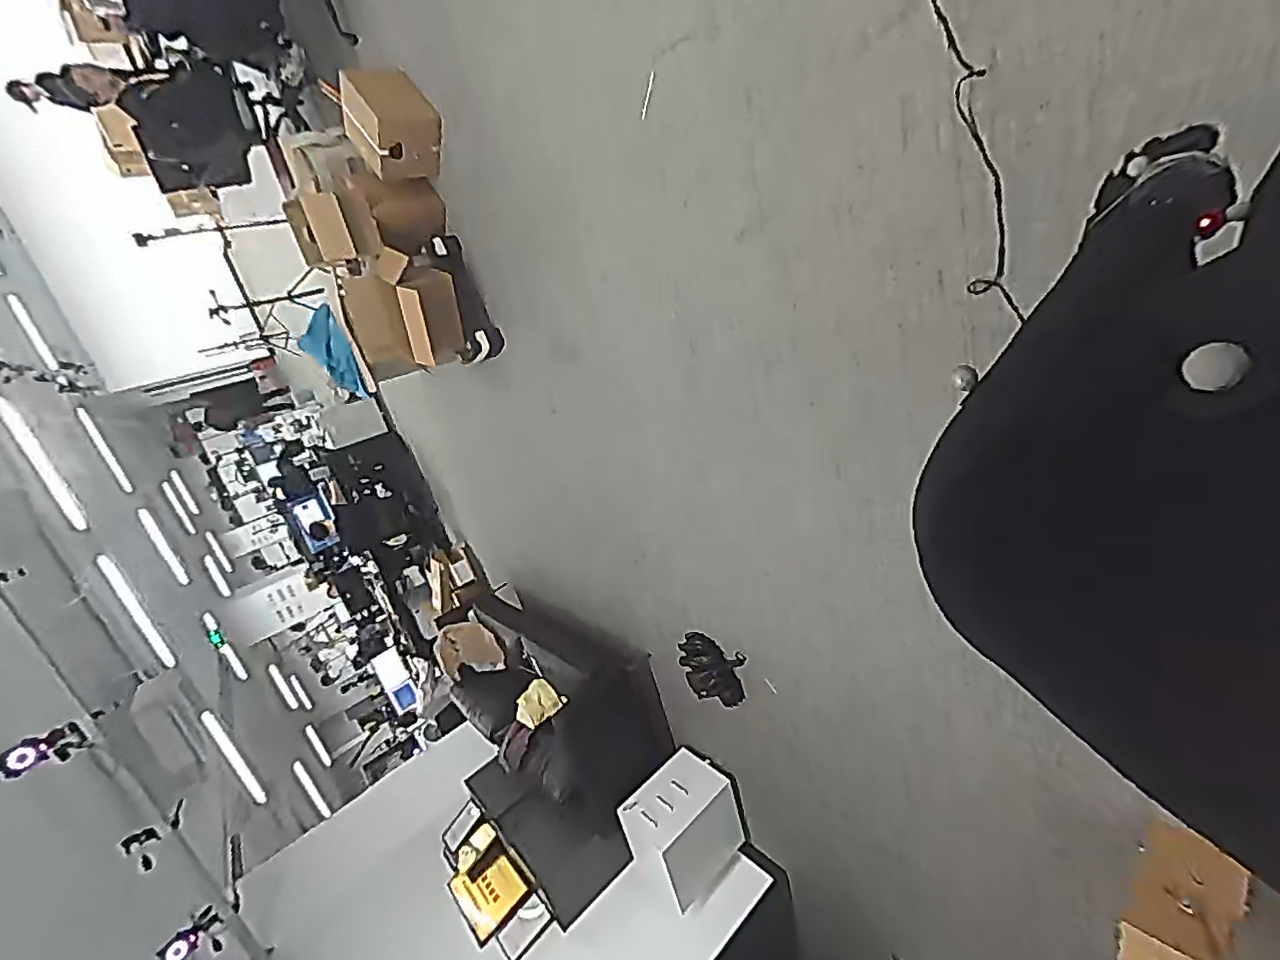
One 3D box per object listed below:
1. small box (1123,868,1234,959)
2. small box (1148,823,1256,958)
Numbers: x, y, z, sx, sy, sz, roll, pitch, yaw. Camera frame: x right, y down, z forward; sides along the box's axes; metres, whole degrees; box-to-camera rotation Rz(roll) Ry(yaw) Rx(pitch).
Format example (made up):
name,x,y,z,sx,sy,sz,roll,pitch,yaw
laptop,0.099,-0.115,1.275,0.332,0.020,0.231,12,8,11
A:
name,x,y,z,sx,sy,sz,roll,pitch,yaw
small box,1.281,1.089,1.286,0.168,0.176,0.179,8,119,49
small box,1.406,1.022,1.362,0.179,0.176,0.168,12,123,50
